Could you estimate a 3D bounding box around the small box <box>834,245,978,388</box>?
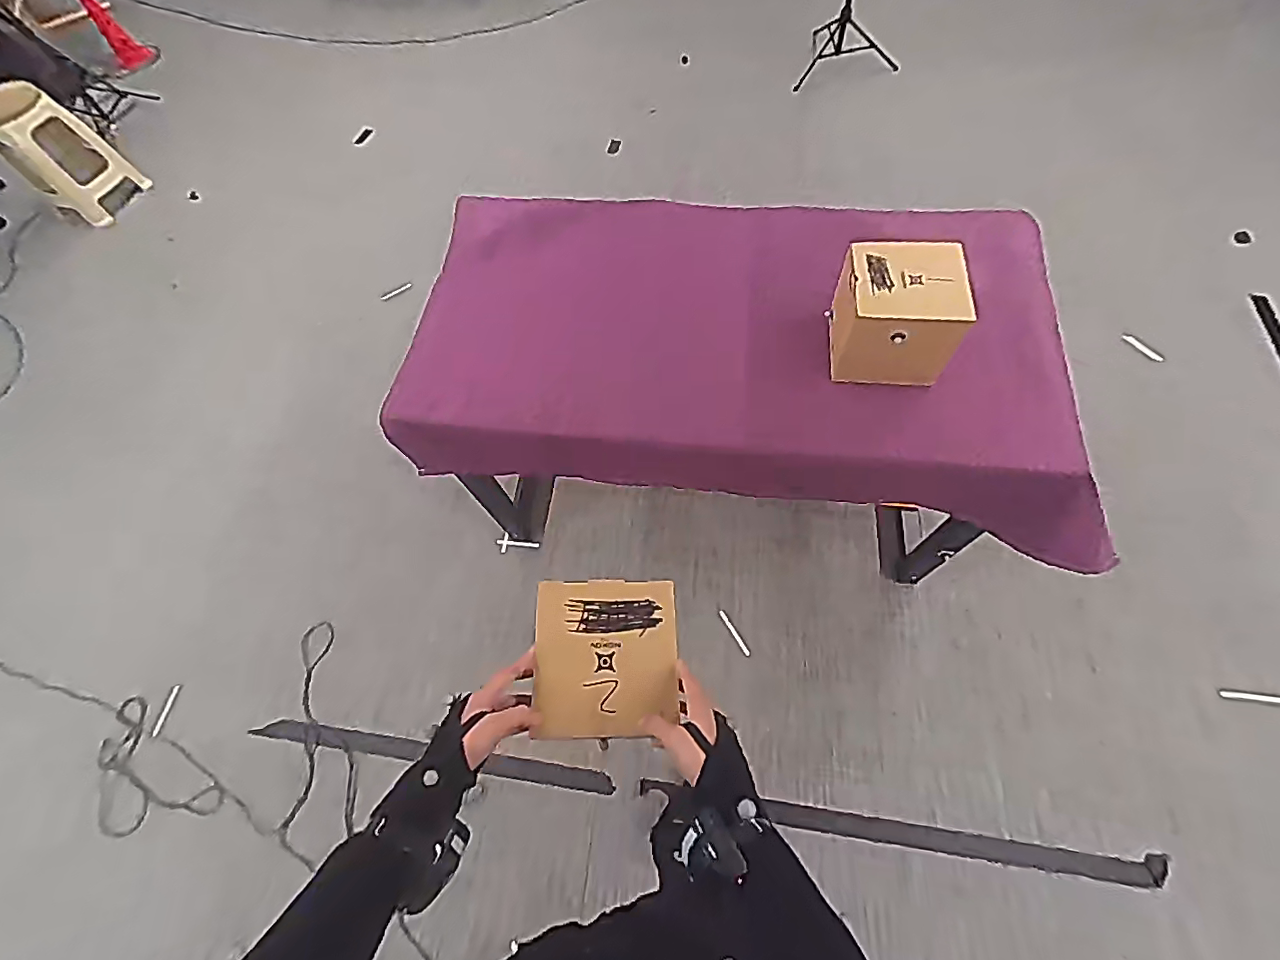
[{"bbox_3d":[0.435,-0.273,0.919,0.179,0.176,0.168,5,65,7],"label":"small box"}]
